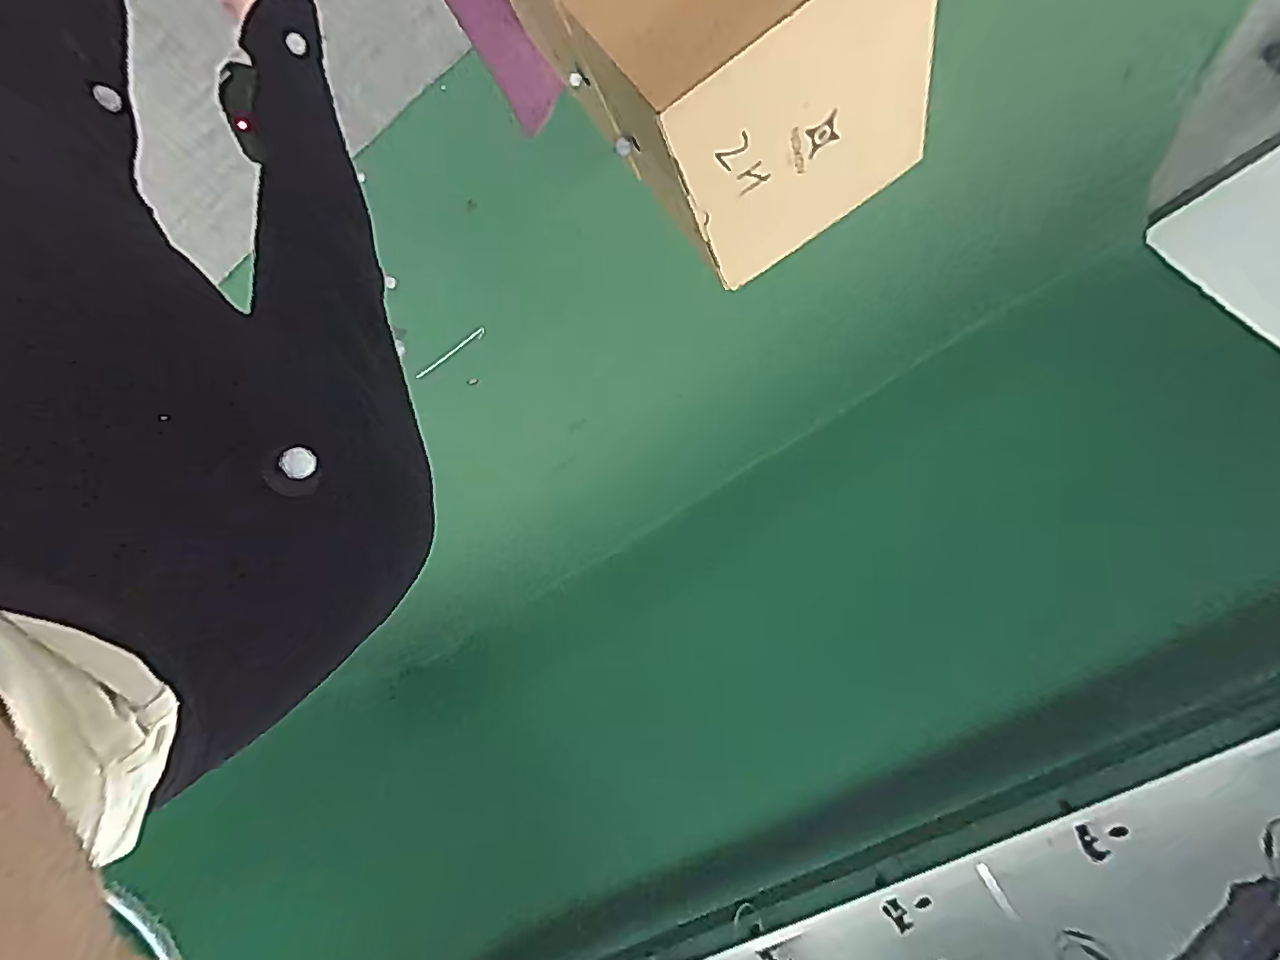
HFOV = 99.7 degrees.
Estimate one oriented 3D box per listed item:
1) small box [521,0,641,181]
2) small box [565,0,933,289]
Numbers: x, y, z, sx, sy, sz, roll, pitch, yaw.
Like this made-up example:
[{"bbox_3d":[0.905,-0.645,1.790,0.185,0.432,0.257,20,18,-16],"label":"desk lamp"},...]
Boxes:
[{"bbox_3d":[0.005,-0.416,0.464,0.179,0.176,0.168,-33,152,9],"label":"small box"},{"bbox_3d":[0.076,-0.287,0.389,0.179,0.176,0.168,-32,153,10],"label":"small box"}]
